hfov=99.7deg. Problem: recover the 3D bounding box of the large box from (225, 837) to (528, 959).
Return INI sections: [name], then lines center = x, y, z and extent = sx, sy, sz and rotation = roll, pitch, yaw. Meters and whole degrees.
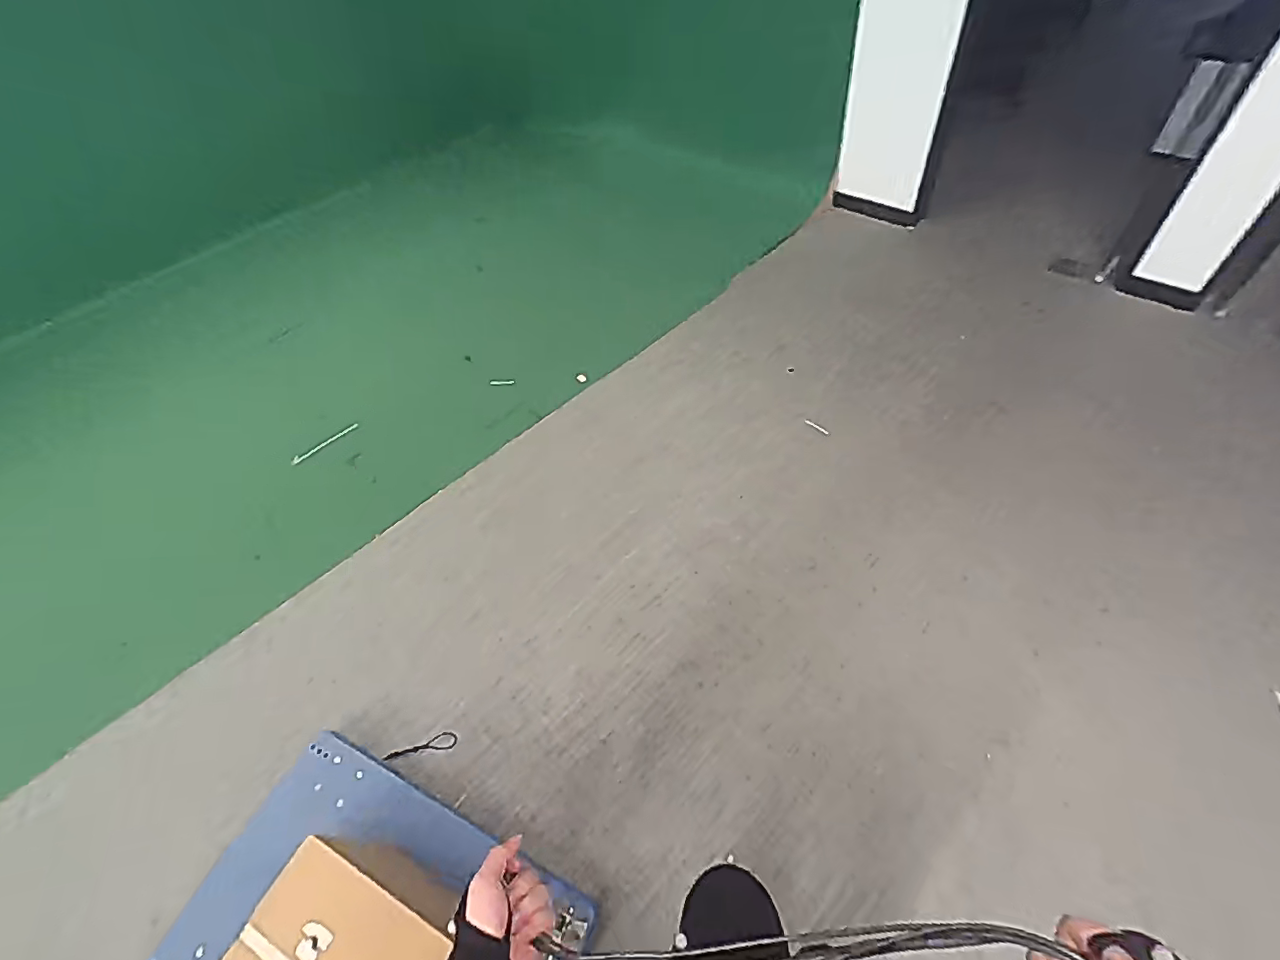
[large box]
center = -0.485, 0.924, 0.987
extent = 0.408, 0.320, 0.320
rotation = 16, 57, 22
